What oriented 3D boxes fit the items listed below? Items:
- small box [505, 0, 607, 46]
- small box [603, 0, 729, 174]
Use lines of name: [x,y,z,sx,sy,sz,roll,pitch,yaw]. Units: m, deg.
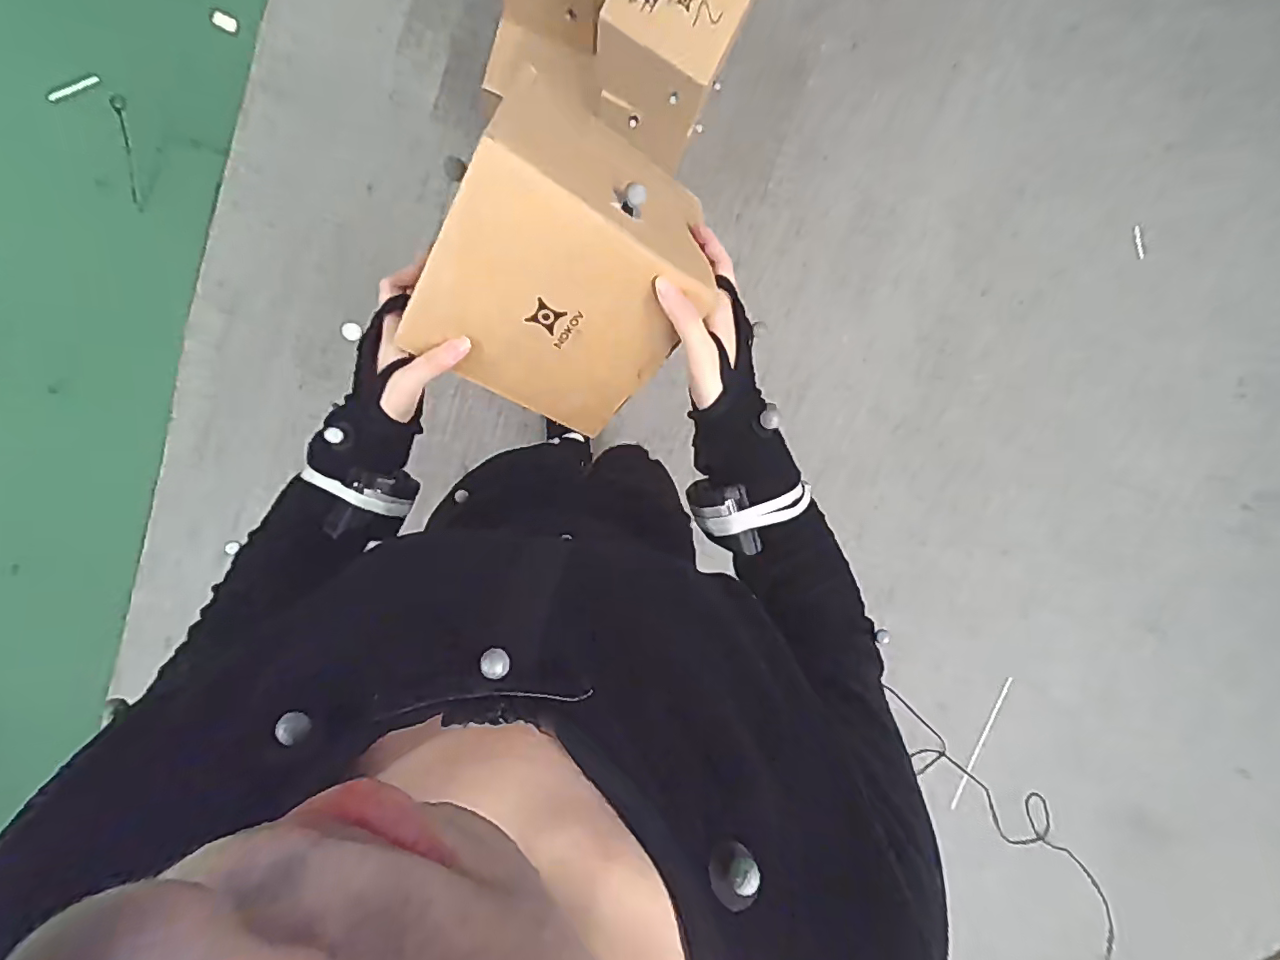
small box: [-0.136,-0.912,0.941,0.179,0.176,0.168,17,95,-7]
small box: [0.035,-0.707,0.986,0.168,0.176,0.179,22,96,-9]
